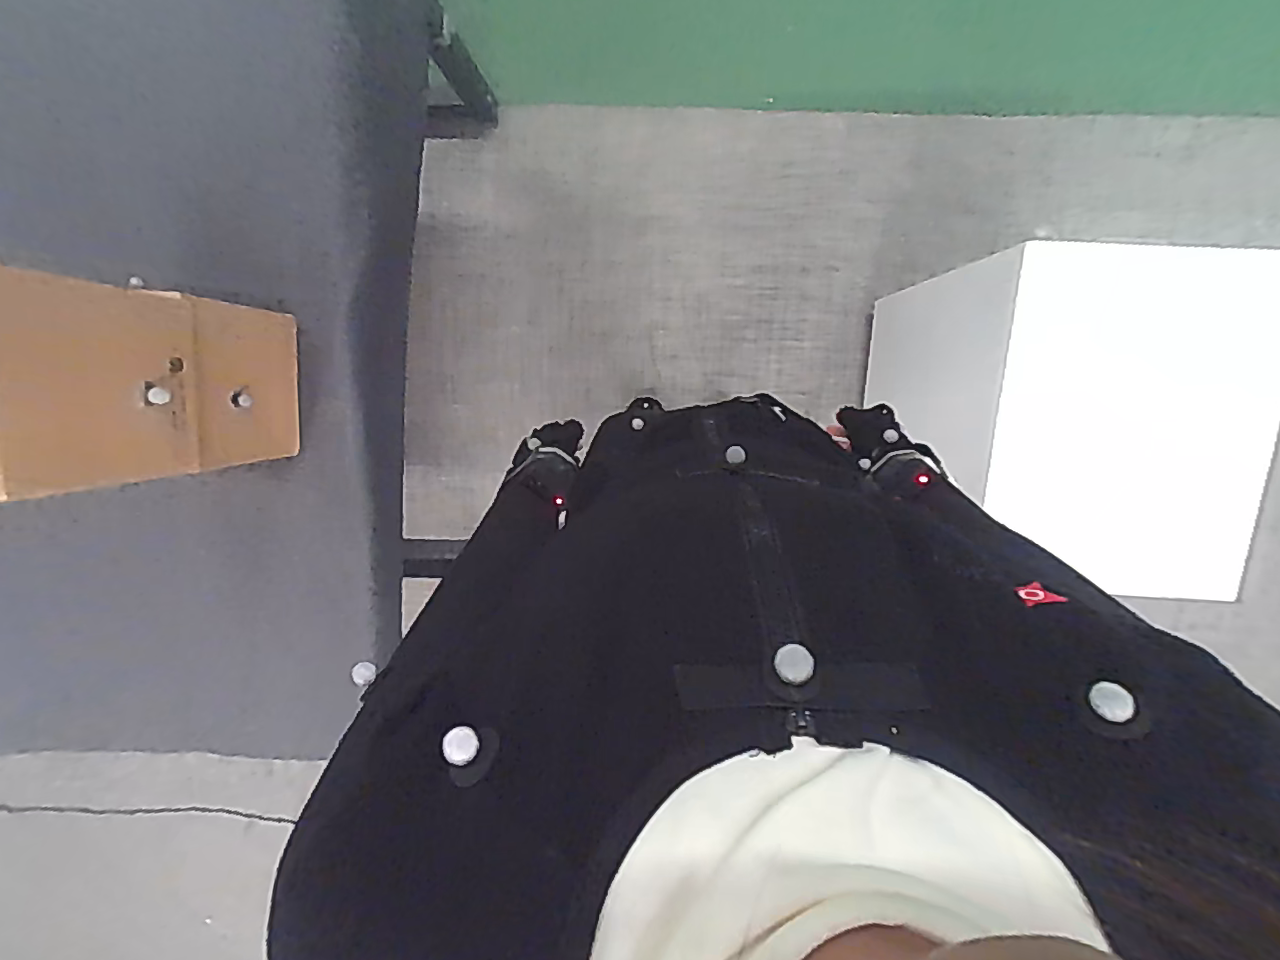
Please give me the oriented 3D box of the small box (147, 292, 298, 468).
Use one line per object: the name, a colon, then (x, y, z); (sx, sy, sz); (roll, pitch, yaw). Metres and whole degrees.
small box: (-0.522, -0.120, 0.616); (0.168, 0.176, 0.179); (5, 101, 2)
